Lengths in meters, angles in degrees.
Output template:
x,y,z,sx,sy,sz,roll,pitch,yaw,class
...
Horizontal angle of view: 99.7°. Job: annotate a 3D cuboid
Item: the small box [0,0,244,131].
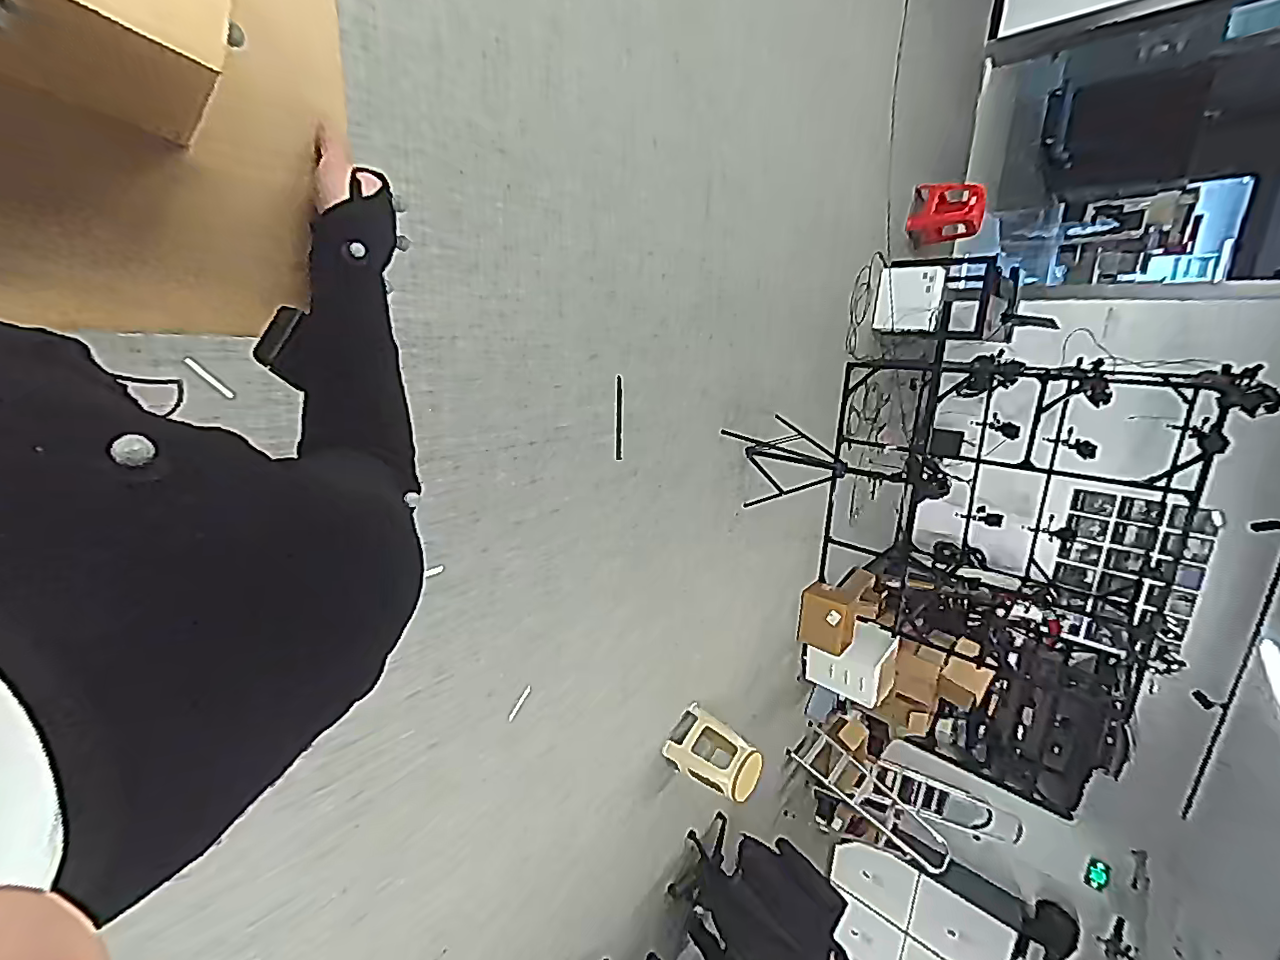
x,y,z,sx,sy,sz,roll,pitch,yaw,class
-0.364,-0.353,0.336,0.179,0.176,0.168,6,95,-45,small box
